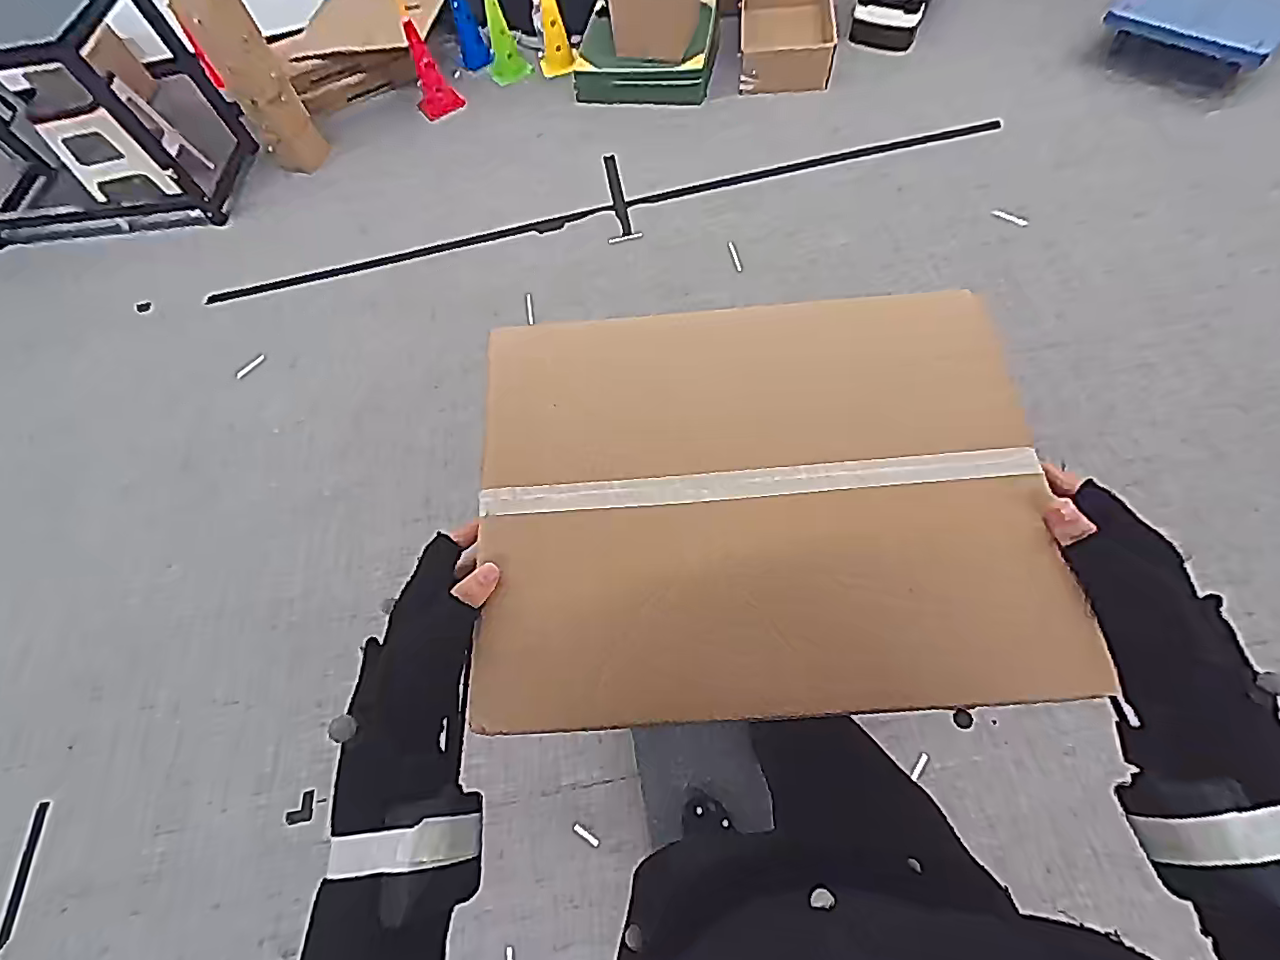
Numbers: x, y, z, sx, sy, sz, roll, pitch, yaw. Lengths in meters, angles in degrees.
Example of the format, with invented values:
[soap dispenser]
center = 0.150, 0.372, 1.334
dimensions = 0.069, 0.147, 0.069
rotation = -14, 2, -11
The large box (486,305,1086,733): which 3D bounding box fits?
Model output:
[large box]
center = 0.093, 0.062, 0.545
dimensions = 0.408, 0.320, 0.320
rotation = -4, 68, 1
